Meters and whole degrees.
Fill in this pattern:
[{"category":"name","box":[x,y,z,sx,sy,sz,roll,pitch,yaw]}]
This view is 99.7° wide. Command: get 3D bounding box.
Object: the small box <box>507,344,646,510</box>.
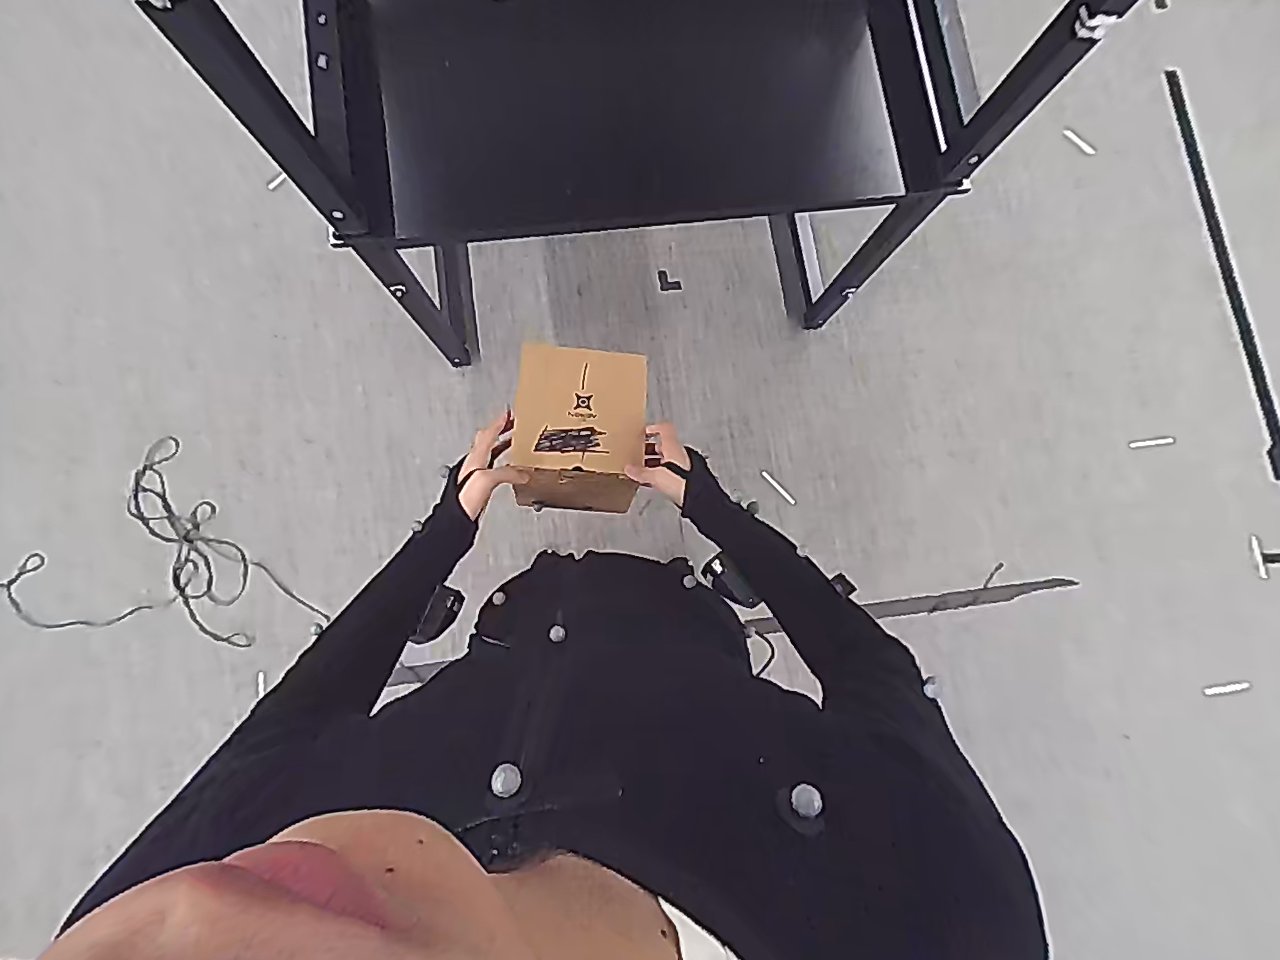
[{"category":"small box","box":[-0.086,-0.064,0.756,0.168,0.176,0.179,4,70,-7]}]
